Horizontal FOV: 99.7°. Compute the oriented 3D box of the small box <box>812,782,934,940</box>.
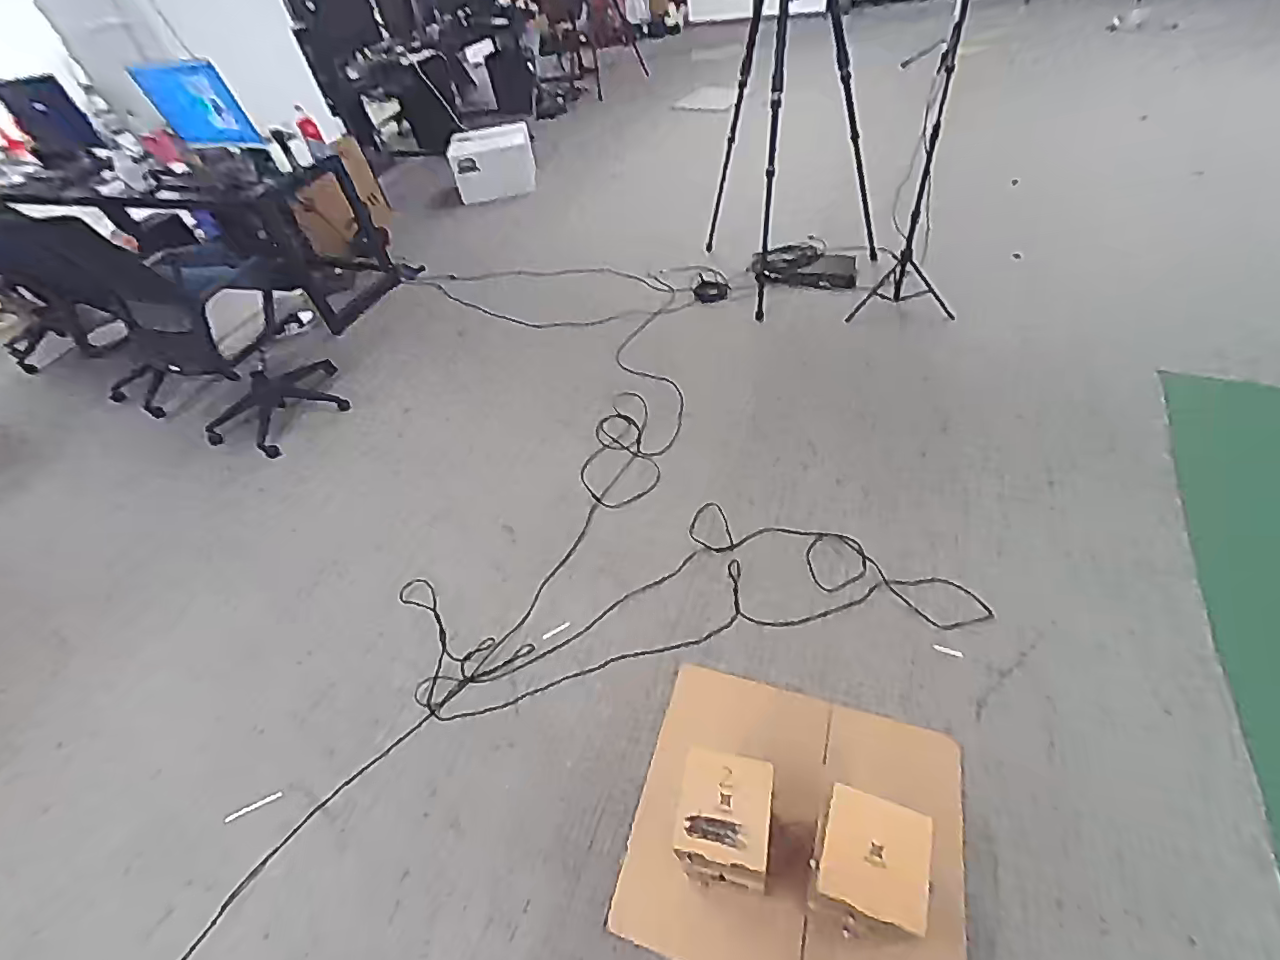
[{"bbox_3d":[0.410,0.681,0.967,0.168,0.176,0.179,12,52,21],"label":"small box"}]

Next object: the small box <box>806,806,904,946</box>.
[{"bbox_3d":[0.430,0.793,1.083,0.168,0.176,0.179,9,51,20],"label":"small box"}]

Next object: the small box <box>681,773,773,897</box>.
[{"bbox_3d":[0.192,0.761,1.155,0.168,0.176,0.179,6,50,16],"label":"small box"}]
